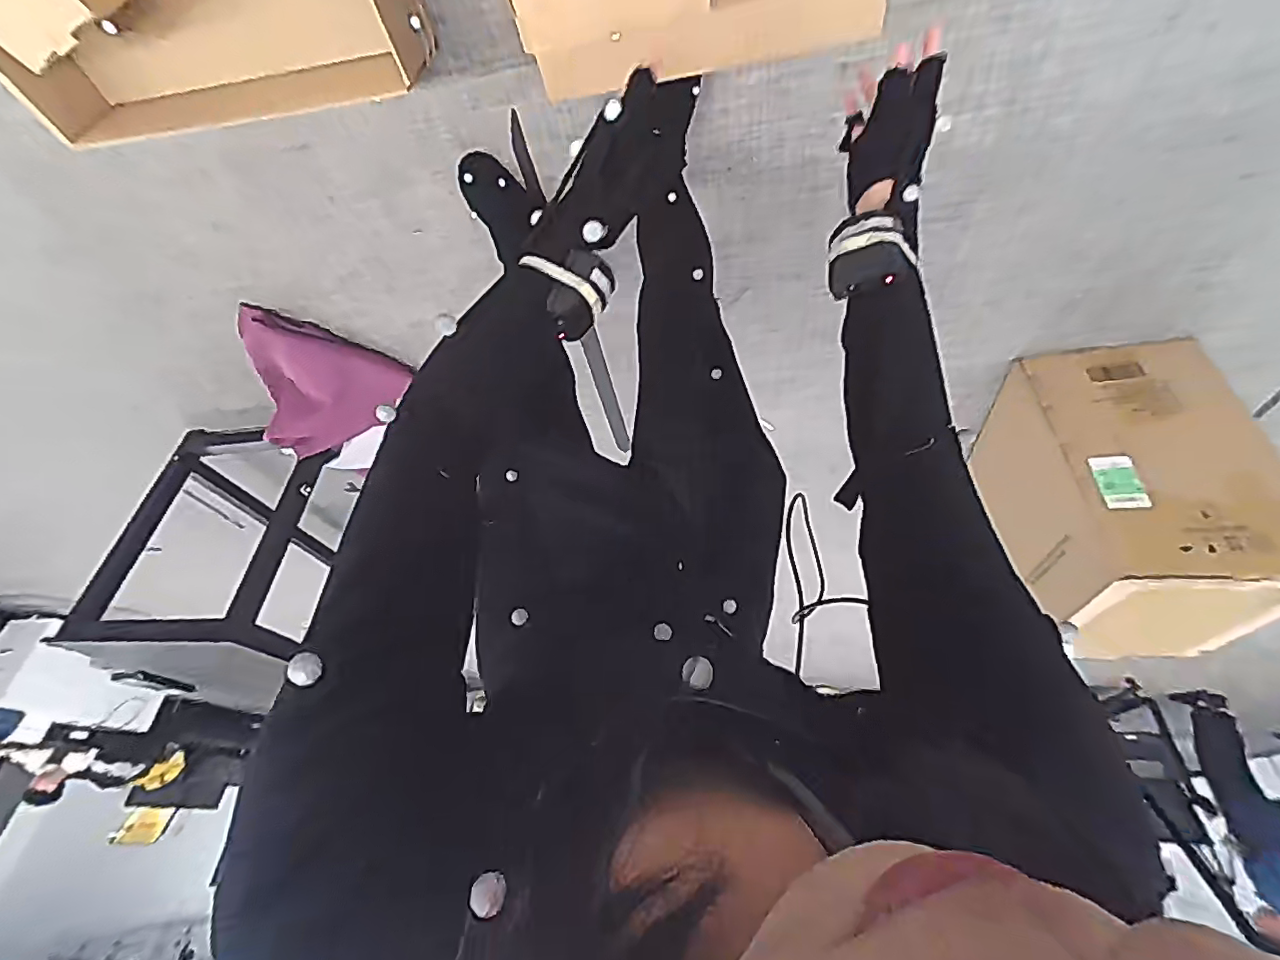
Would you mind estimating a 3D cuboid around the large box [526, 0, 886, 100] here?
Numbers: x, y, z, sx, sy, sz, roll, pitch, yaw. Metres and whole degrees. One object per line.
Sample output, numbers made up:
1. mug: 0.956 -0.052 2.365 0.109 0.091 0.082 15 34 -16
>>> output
1. large box: 0.055 -0.712 0.619 0.408 0.320 0.320 -5 146 10
